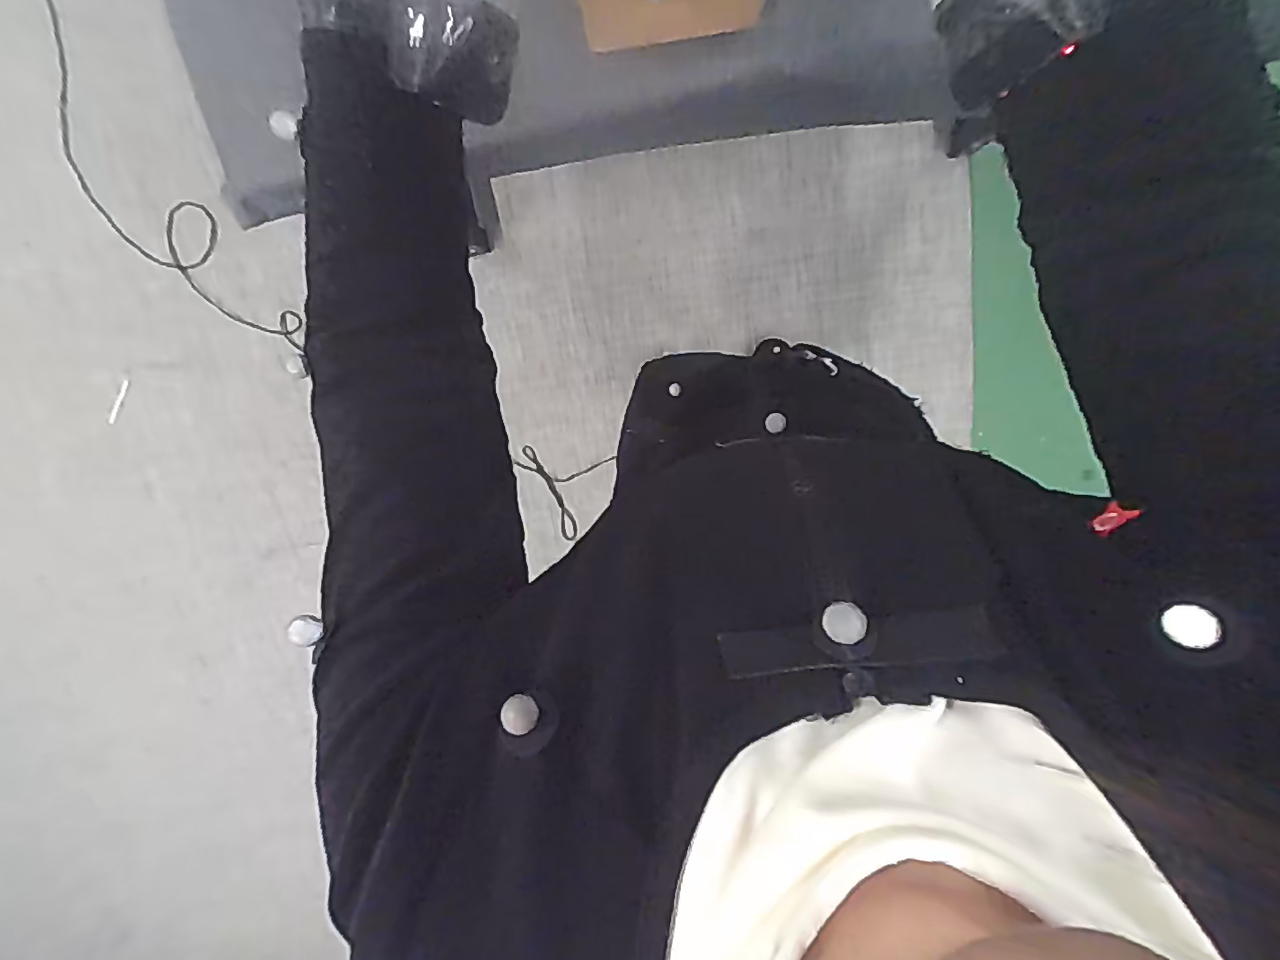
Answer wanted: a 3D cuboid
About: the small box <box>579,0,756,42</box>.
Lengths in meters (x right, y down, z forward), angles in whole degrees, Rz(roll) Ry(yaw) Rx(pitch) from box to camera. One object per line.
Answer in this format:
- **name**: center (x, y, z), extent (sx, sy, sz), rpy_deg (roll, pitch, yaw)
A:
- **small box**: center (0.020, -0.519, 0.465), extent (0.179, 0.176, 0.168), rpy_deg (-5, 104, 4)
